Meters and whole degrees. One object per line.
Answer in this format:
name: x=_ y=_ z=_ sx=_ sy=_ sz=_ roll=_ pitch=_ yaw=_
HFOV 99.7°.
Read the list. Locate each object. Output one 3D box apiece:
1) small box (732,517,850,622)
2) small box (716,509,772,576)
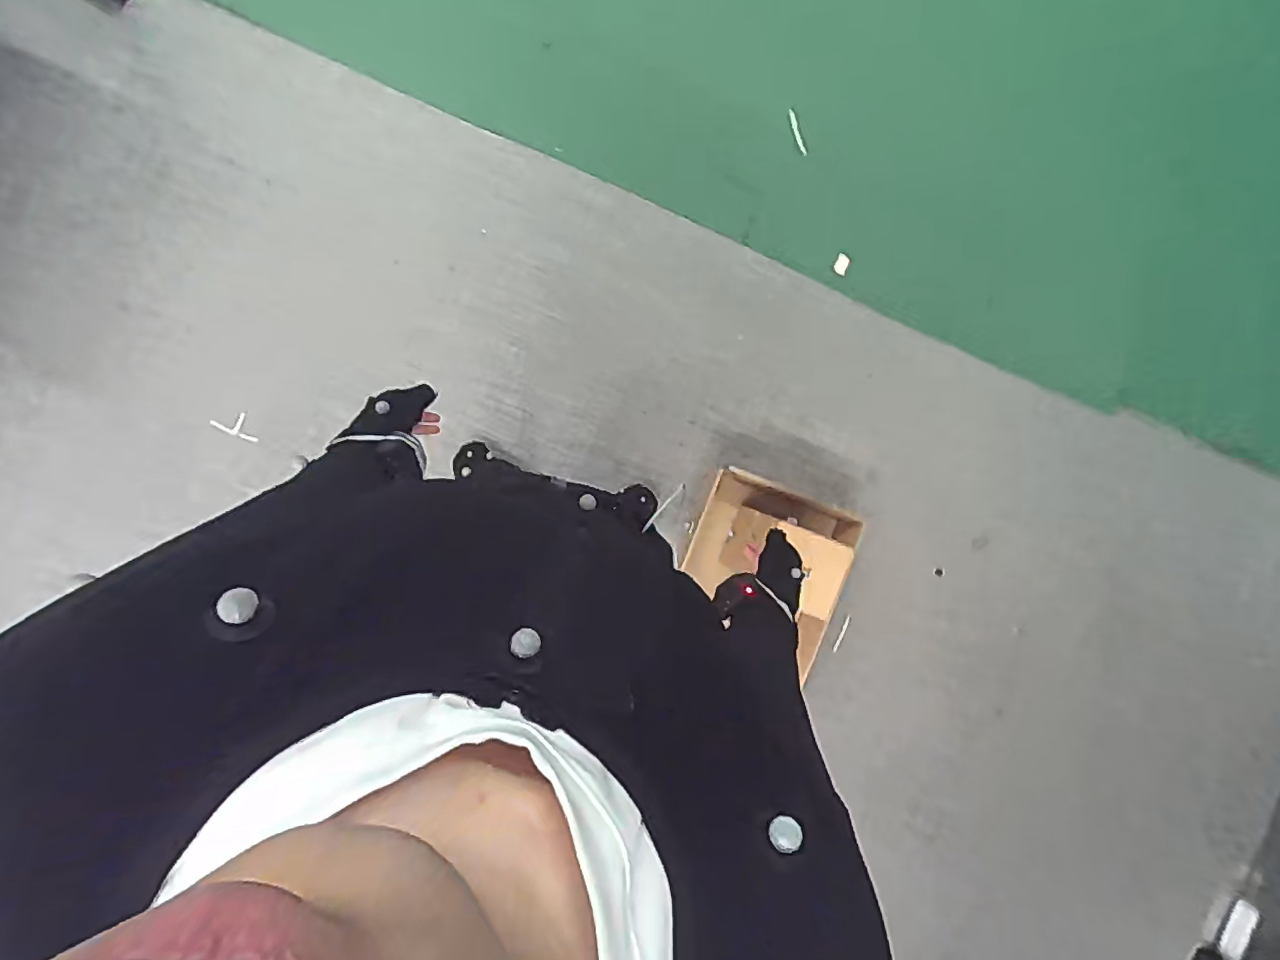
small box: x=0.332 y=0.194 z=1.224 sx=0.179 sy=0.176 sz=0.168 roll=22 pitch=92 yaw=-5
small box: x=0.318 y=0.183 z=1.386 sx=0.179 sy=0.176 sz=0.168 roll=23 pitch=91 yaw=-5
